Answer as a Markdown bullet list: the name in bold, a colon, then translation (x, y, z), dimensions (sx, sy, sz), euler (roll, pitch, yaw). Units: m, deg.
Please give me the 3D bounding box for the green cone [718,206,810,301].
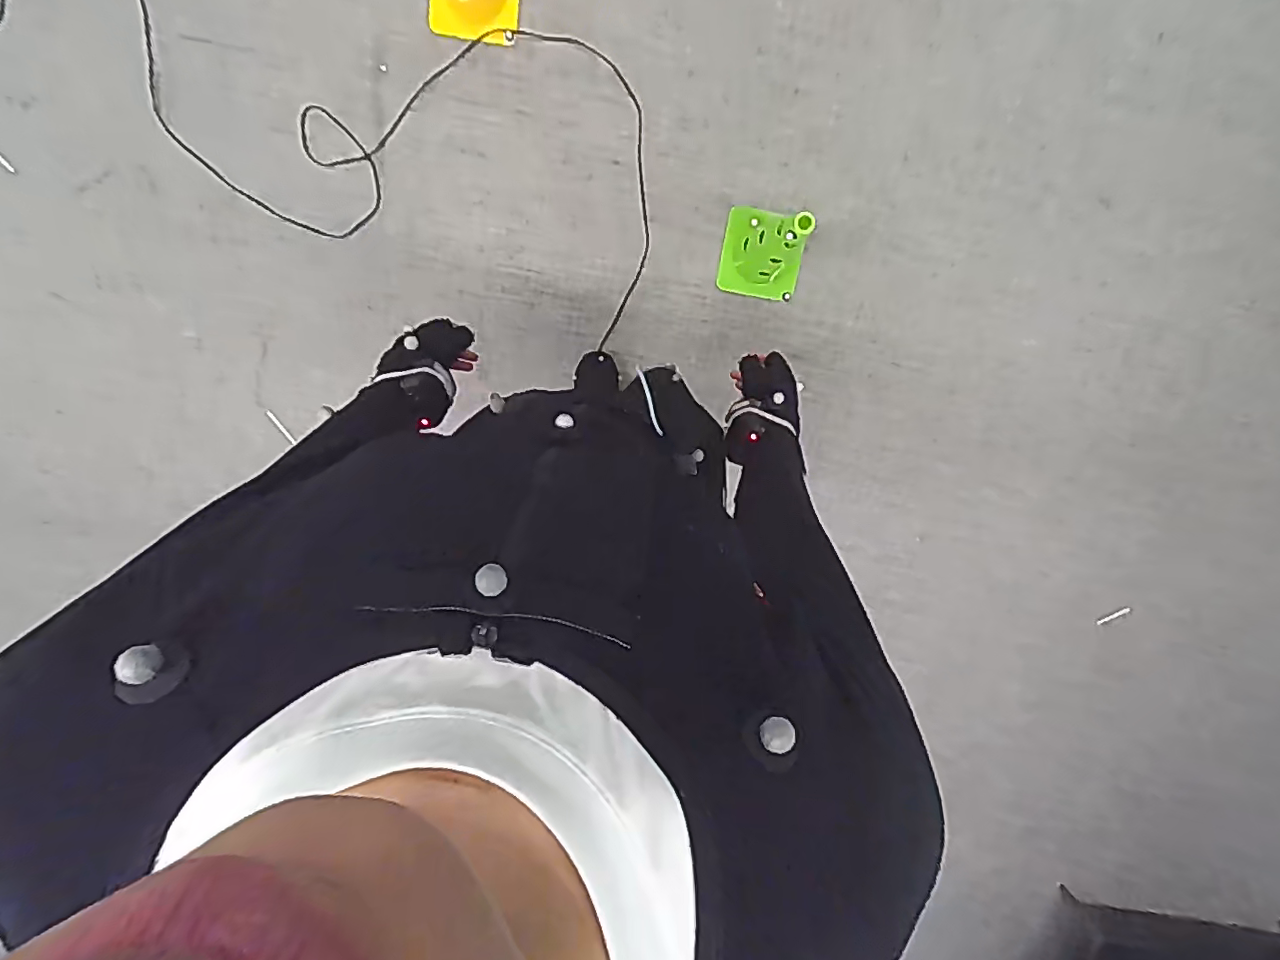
- **green cone**: translation (0.306, -0.526, 1.181), dimensions (0.202, 0.368, 0.200), euler (10, 102, -1)
